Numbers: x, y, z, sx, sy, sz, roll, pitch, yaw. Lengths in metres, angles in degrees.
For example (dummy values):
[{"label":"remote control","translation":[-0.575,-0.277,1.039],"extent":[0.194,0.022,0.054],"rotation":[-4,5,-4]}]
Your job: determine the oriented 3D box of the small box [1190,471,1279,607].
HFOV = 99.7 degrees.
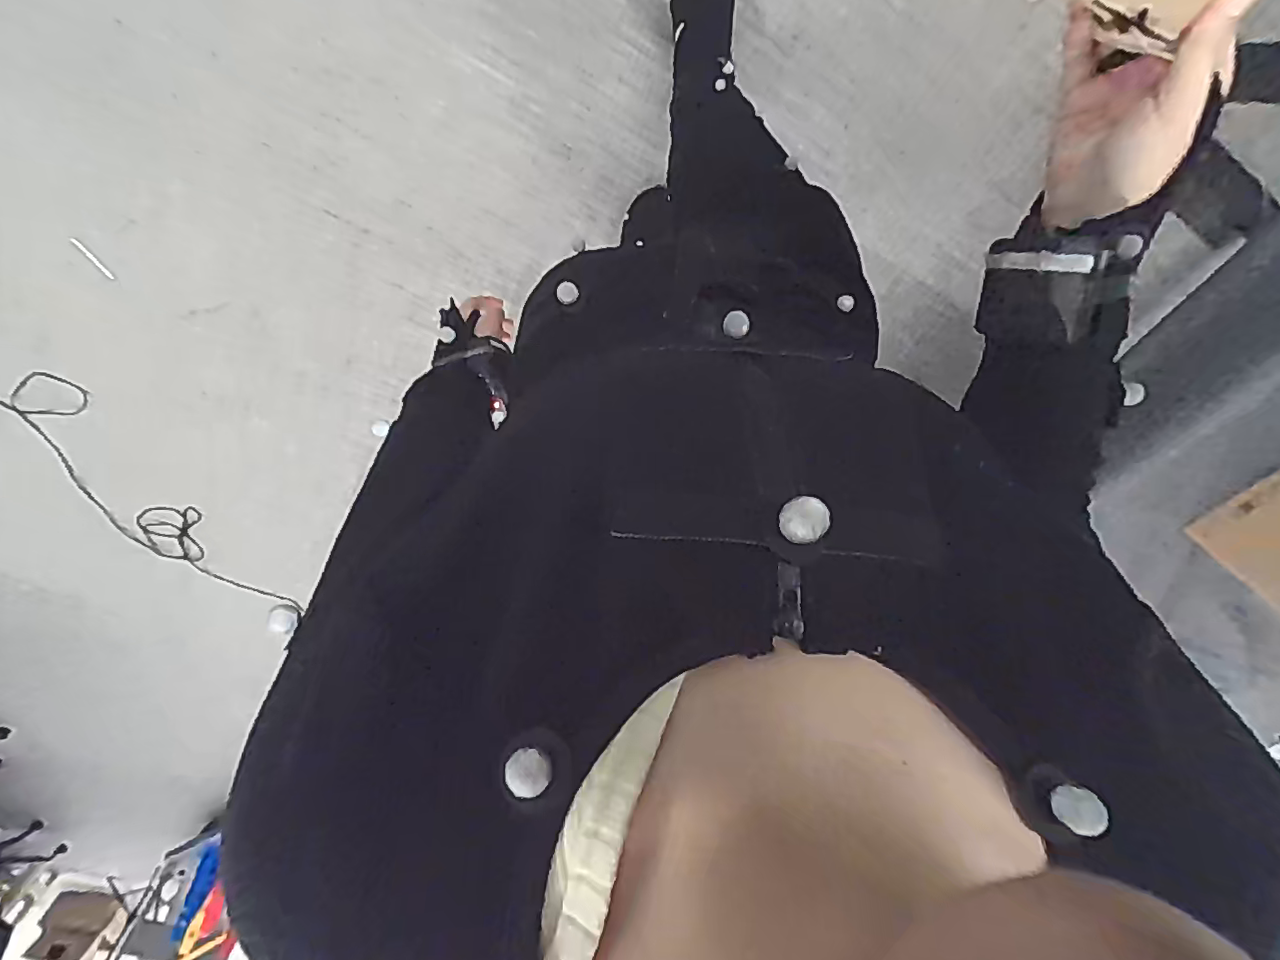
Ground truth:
[{"label":"small box","translation":[0.809,0.087,0.616],"extent":[0.179,0.176,0.168],"rotation":[25,123,-19]}]
